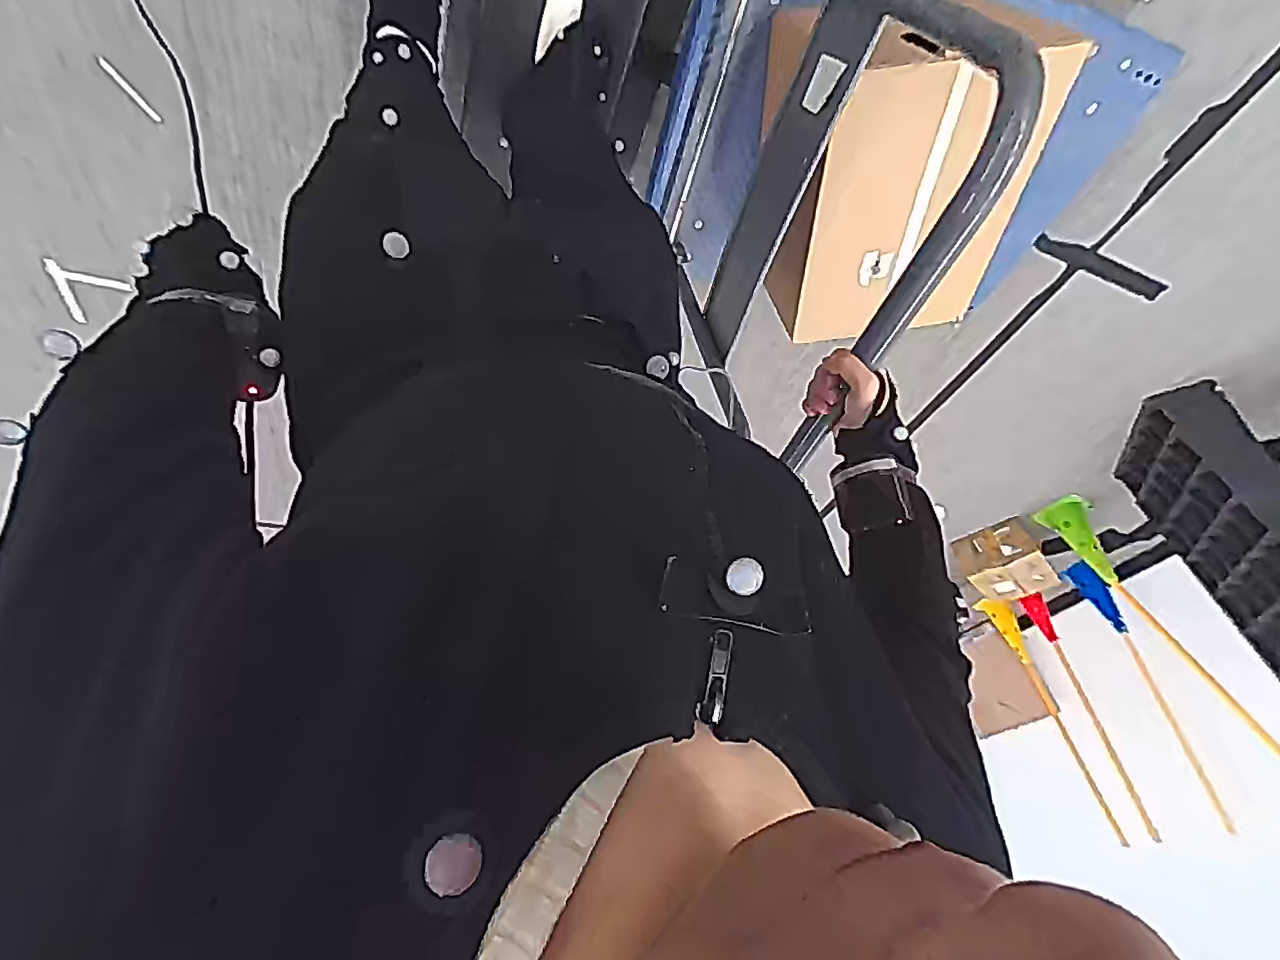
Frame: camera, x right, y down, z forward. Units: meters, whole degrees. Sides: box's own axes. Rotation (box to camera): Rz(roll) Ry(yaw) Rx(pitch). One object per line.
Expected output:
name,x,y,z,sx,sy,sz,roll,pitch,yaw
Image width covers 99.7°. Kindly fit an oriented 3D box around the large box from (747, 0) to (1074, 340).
large box,0.381,-0.509,0.903,0.320,0.320,0.408,-8,142,-2
